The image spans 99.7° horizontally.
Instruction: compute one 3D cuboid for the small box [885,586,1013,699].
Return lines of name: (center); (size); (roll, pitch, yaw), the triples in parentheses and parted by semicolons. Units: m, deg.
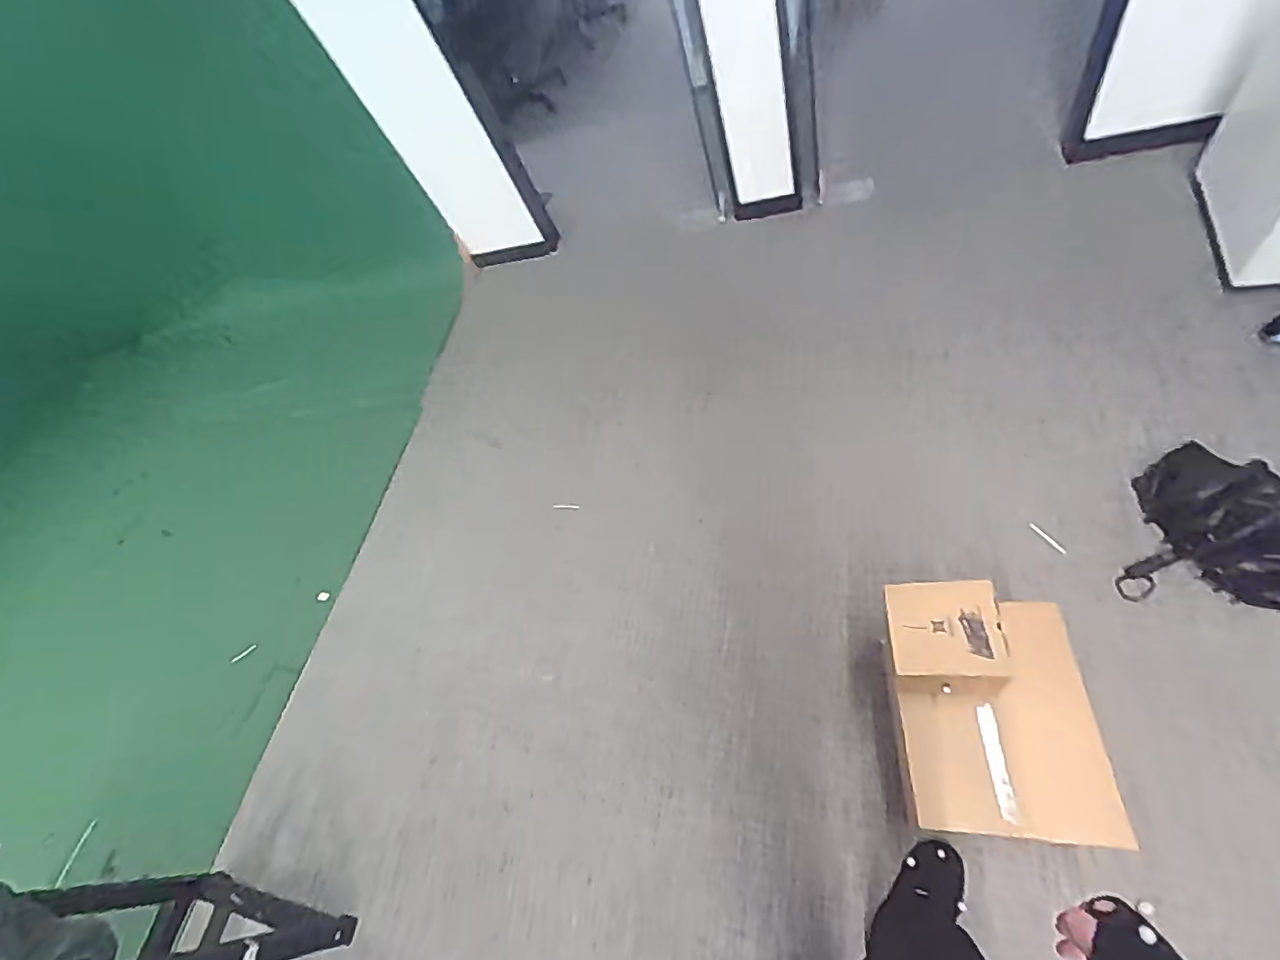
small box: (0.558, 0.303, 1.001); (0.179, 0.176, 0.168); (-8, 57, 23)
